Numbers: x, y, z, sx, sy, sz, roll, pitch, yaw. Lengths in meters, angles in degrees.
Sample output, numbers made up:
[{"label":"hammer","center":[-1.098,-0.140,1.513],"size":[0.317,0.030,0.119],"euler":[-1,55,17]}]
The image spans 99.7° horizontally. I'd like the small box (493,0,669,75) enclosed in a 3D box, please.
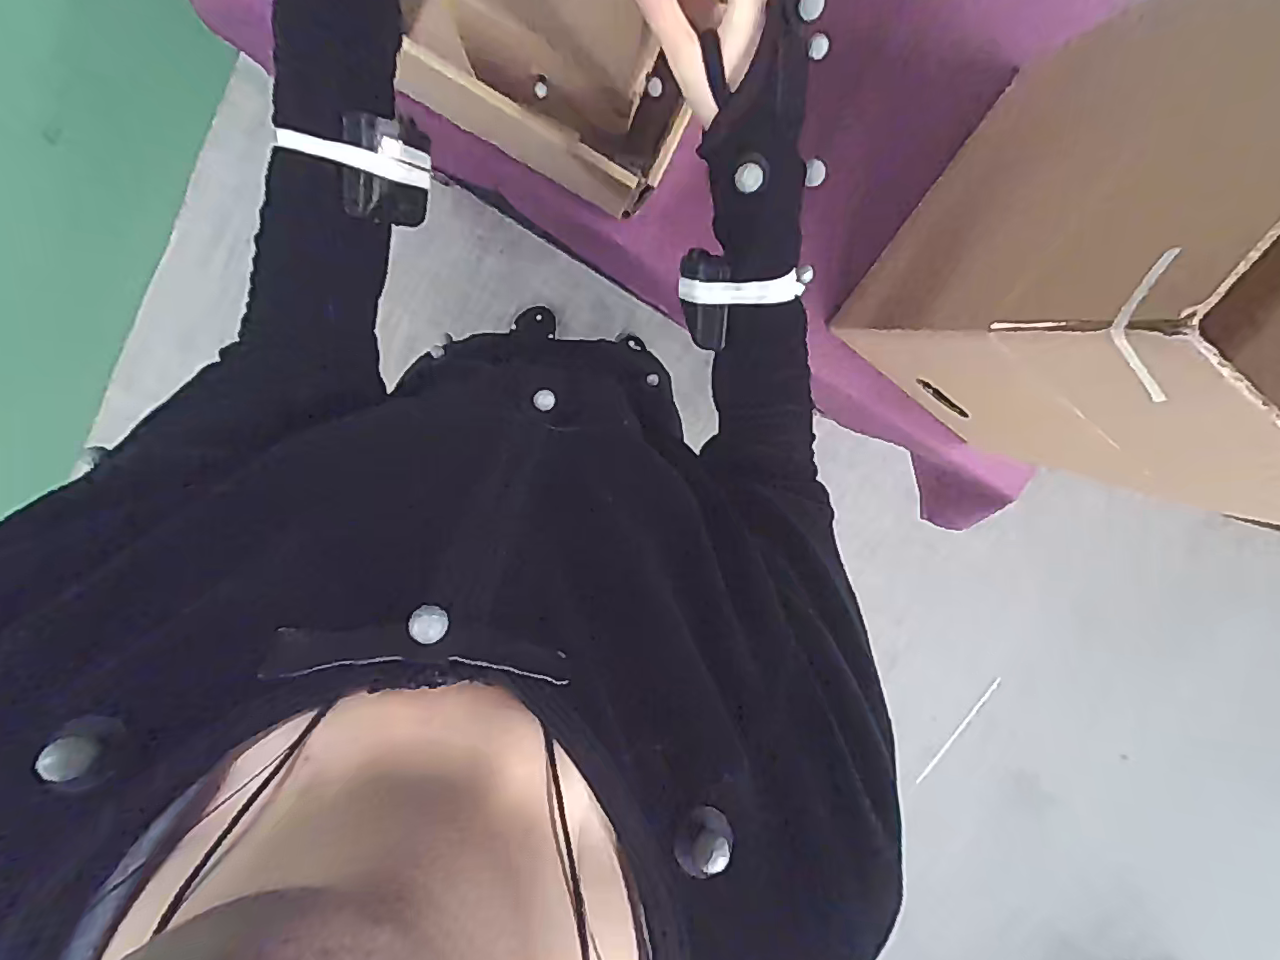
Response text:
[{"label":"small box","center":[-0.041,-0.409,0.343],"size":[0.179,0.176,0.168],"euler":[26,104,-13]}]
